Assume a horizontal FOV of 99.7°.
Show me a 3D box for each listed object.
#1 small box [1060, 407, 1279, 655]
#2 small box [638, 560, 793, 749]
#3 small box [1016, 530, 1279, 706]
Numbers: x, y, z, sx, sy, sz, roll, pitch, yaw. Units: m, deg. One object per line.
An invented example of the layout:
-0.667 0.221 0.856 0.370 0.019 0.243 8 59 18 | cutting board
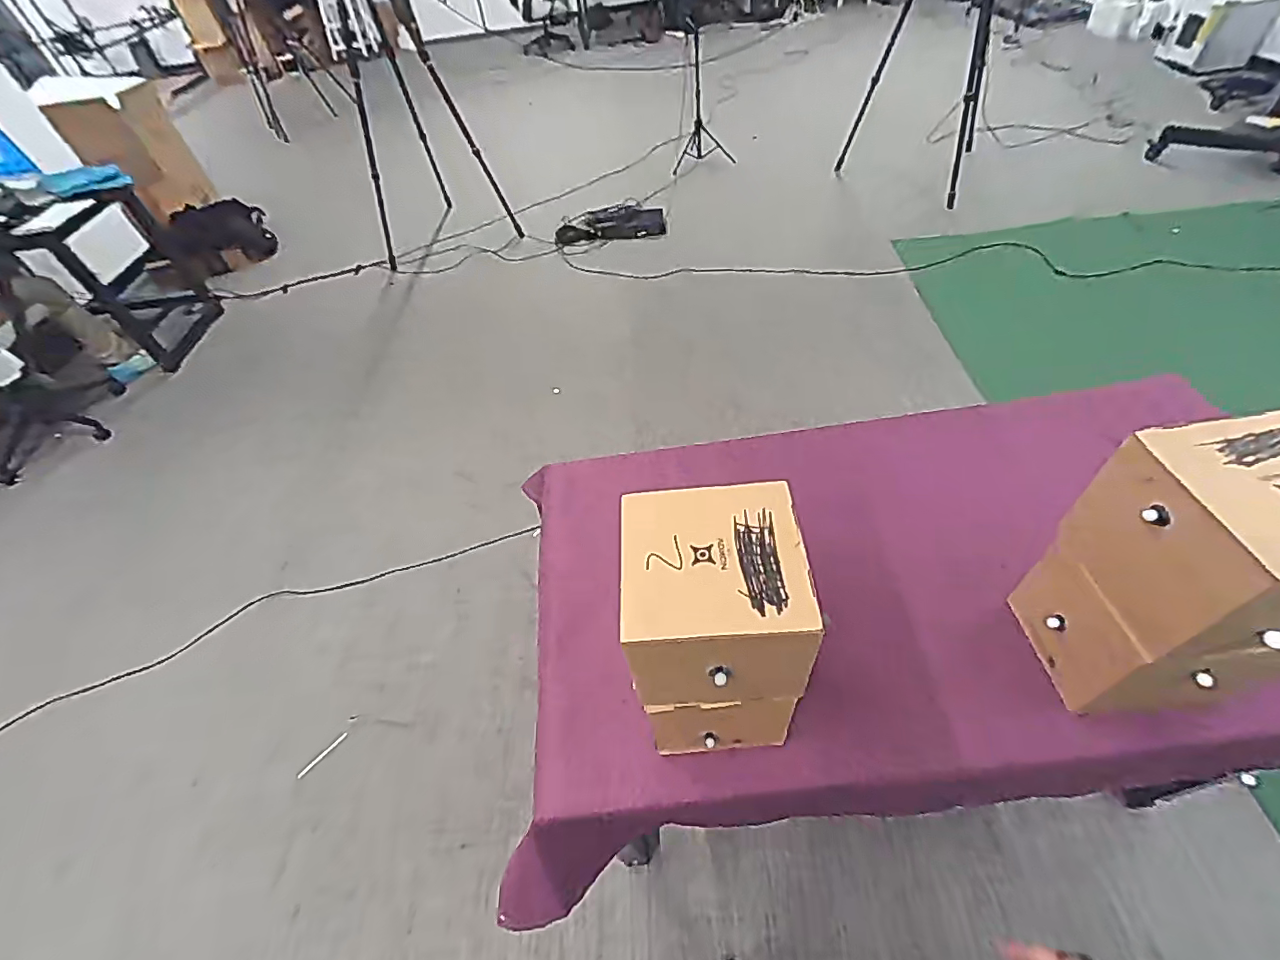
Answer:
0.585 0.054 0.548 0.168 0.176 0.179 -9 49 2 | small box
0.088 0.226 0.697 0.168 0.176 0.179 -7 49 3 | small box
0.605 0.167 0.666 0.179 0.176 0.168 -6 49 3 | small box
